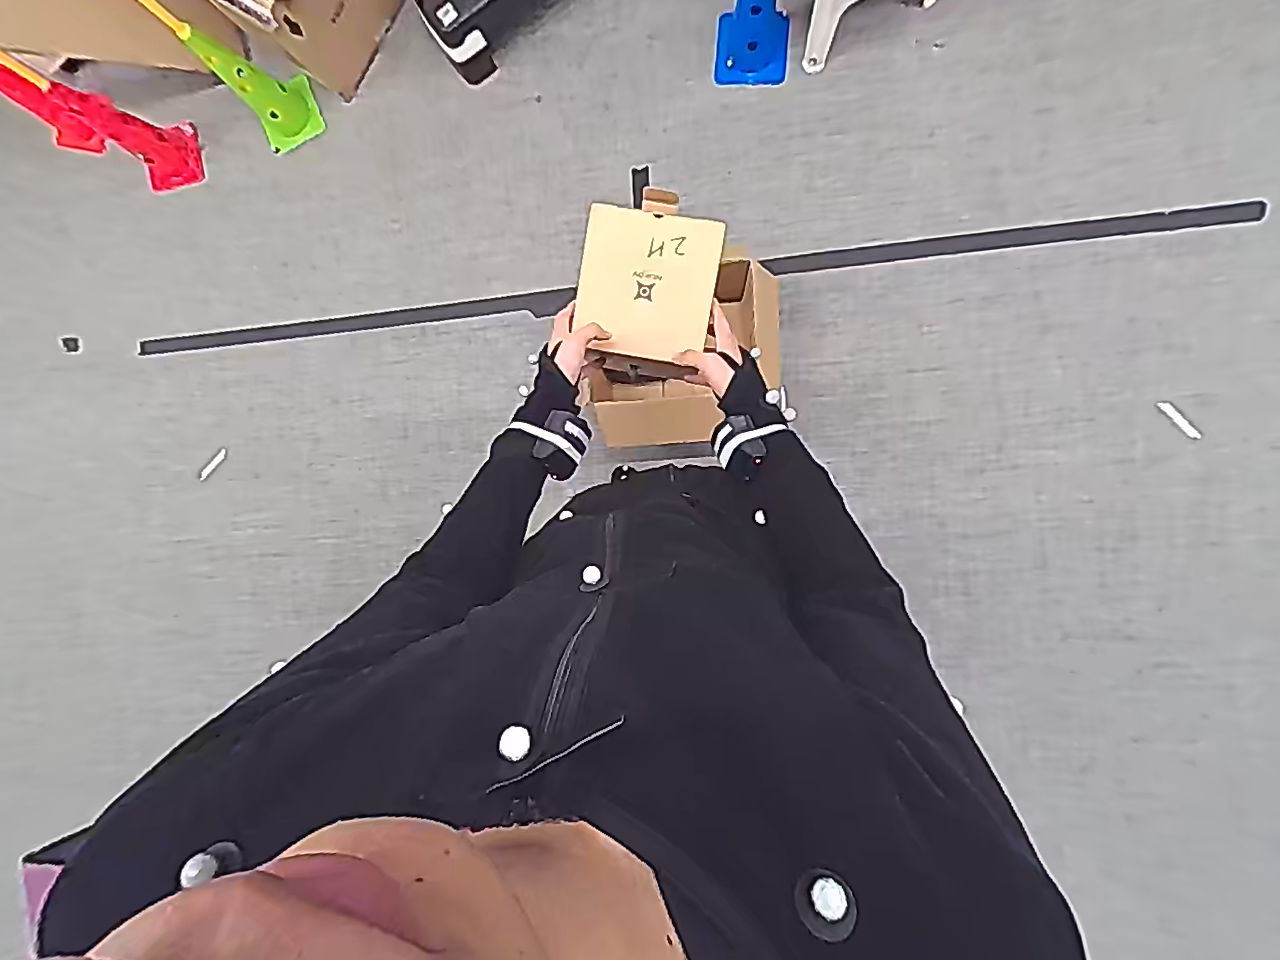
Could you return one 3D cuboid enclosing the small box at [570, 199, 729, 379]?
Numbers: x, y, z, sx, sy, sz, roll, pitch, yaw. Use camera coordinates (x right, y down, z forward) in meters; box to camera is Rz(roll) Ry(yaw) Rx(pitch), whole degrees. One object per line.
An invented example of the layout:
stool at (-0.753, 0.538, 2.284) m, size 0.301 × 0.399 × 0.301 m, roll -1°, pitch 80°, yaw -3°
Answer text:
small box at (0.014, -0.240, 0.723) m, size 0.168 × 0.176 × 0.179 m, roll 11°, pitch 94°, yaw 1°
